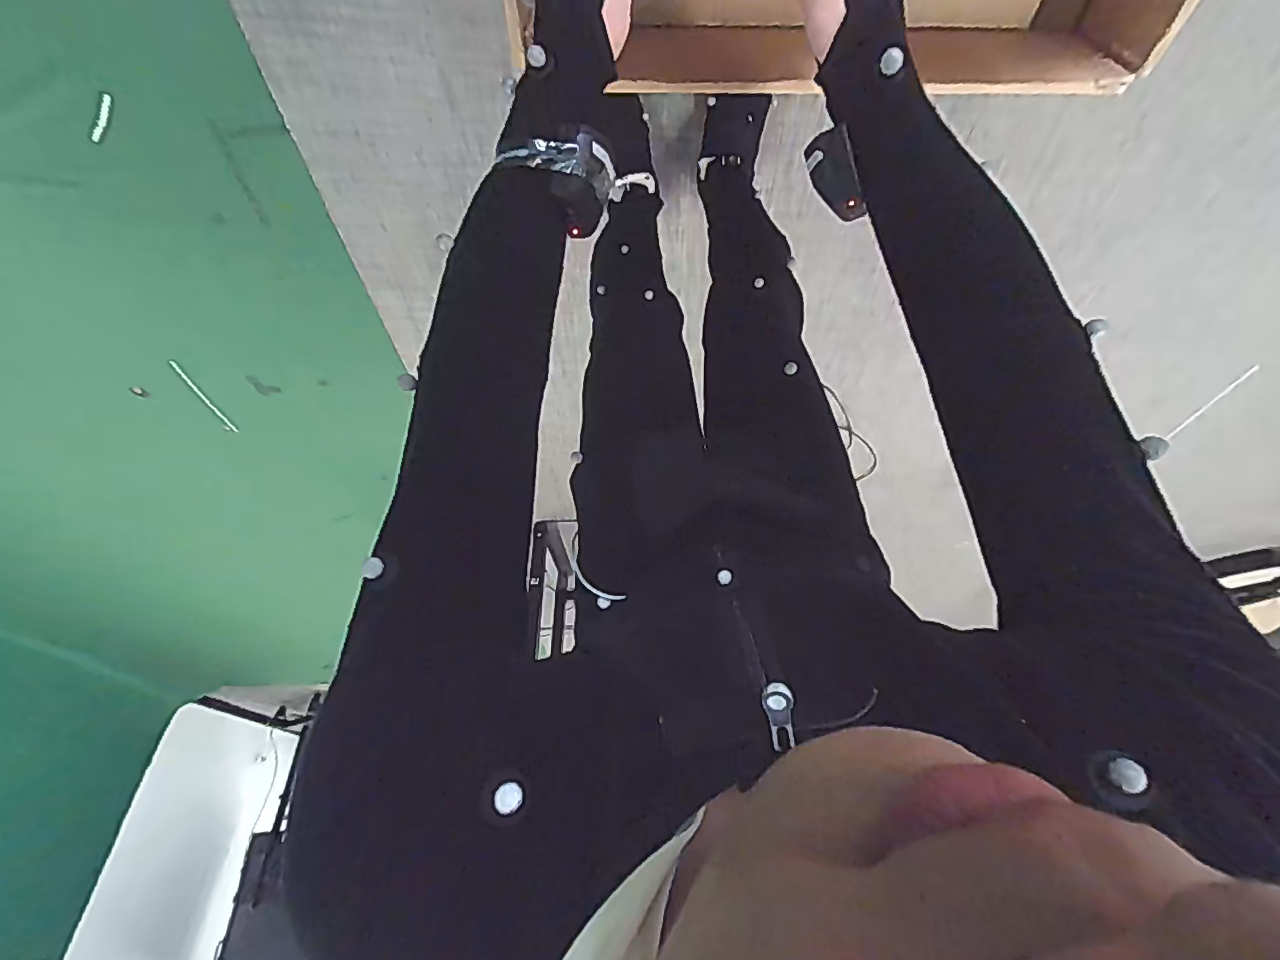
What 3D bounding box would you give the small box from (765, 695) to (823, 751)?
[{"bbox_3d":[0.564,0.901,2.002,0.168,0.176,0.179,-3,146,2],"label":"small box"}]
